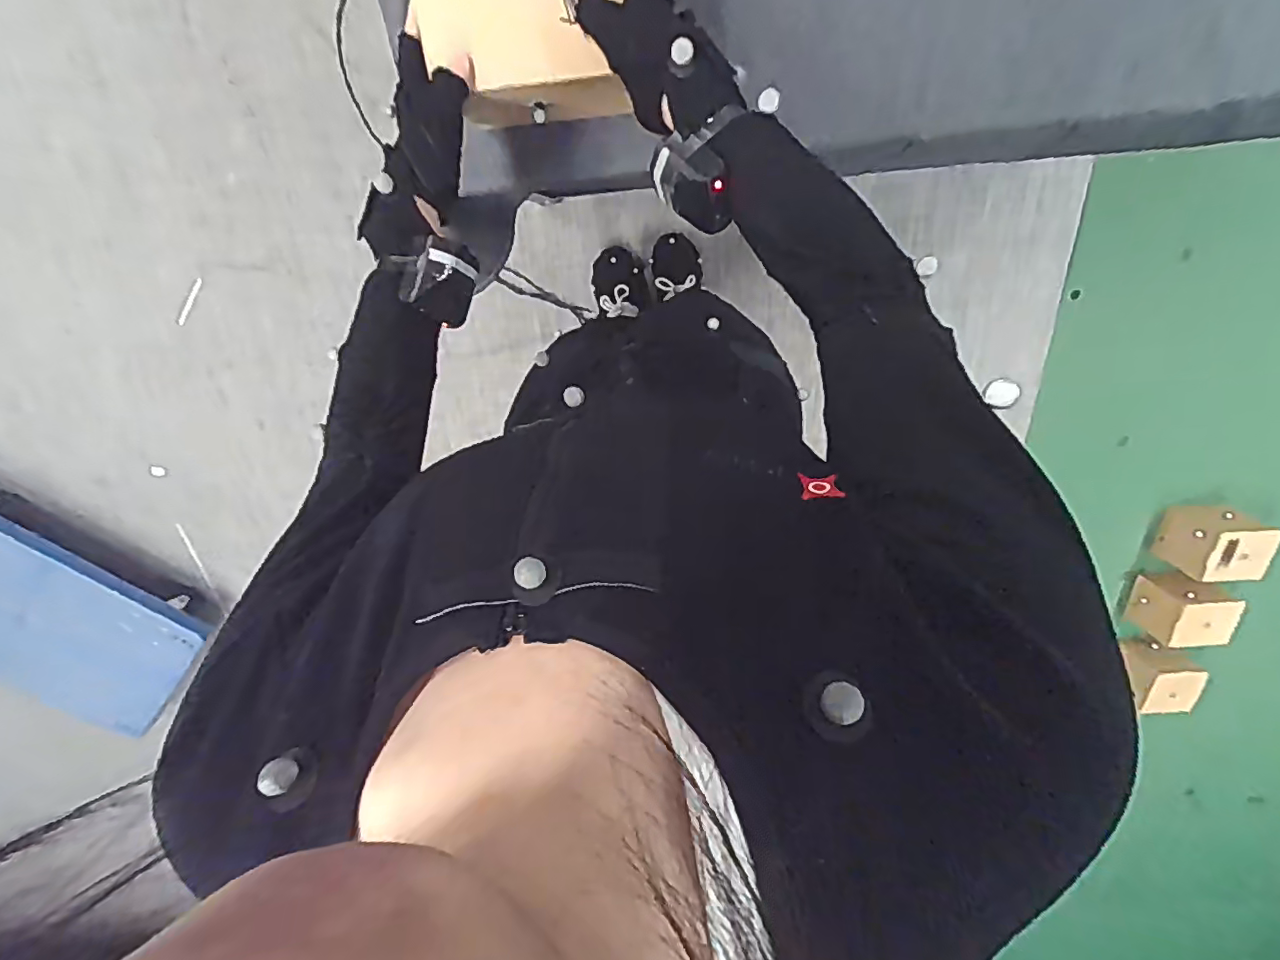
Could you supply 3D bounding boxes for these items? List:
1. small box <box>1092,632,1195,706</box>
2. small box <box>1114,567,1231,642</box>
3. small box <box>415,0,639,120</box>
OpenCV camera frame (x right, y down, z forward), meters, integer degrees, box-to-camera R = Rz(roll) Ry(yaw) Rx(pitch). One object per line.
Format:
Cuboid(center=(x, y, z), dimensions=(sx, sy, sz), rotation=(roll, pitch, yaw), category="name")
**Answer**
Cuboid(center=(1.688, 0.638, 1.829), dimensions=(0.168, 0.176, 0.179), rotation=(-2, 116, 0), category="small box")
Cuboid(center=(1.675, 0.389, 1.712), dimensions=(0.179, 0.176, 0.168), rotation=(-4, 116, 2), category="small box")
Cuboid(center=(-0.096, -0.441, 0.489), dimensions=(0.179, 0.176, 0.168), rotation=(-5, 115, 2), category="small box")
